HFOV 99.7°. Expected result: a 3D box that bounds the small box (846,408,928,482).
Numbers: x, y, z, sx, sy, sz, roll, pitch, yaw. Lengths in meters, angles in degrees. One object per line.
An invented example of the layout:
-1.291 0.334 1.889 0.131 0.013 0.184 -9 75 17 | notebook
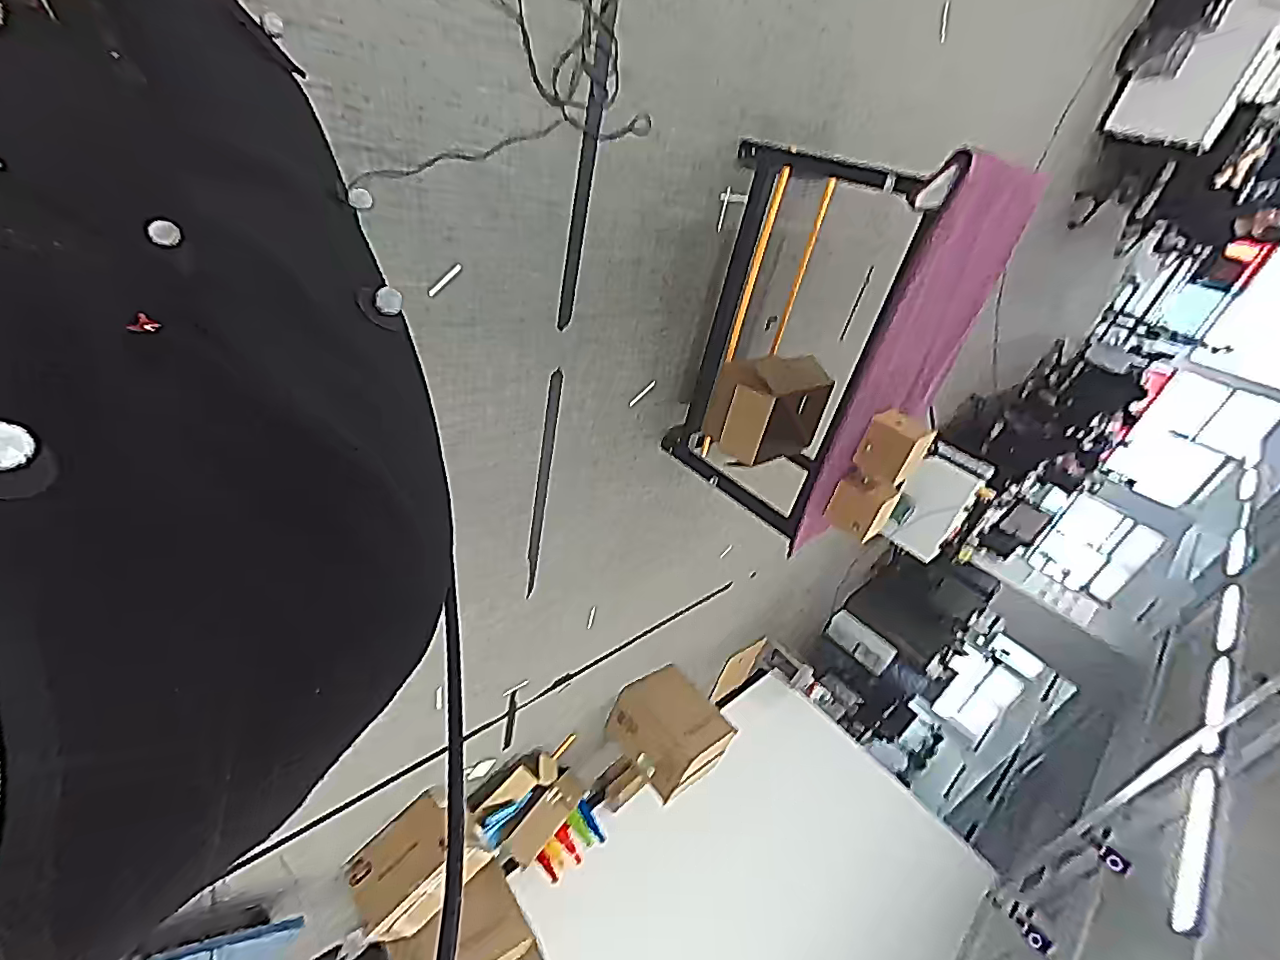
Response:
0.843 -0.121 1.837 0.168 0.176 0.179 -17 133 -41 | small box

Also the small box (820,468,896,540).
0.782 0.084 1.959 0.168 0.176 0.179 -19 134 -42 | small box
